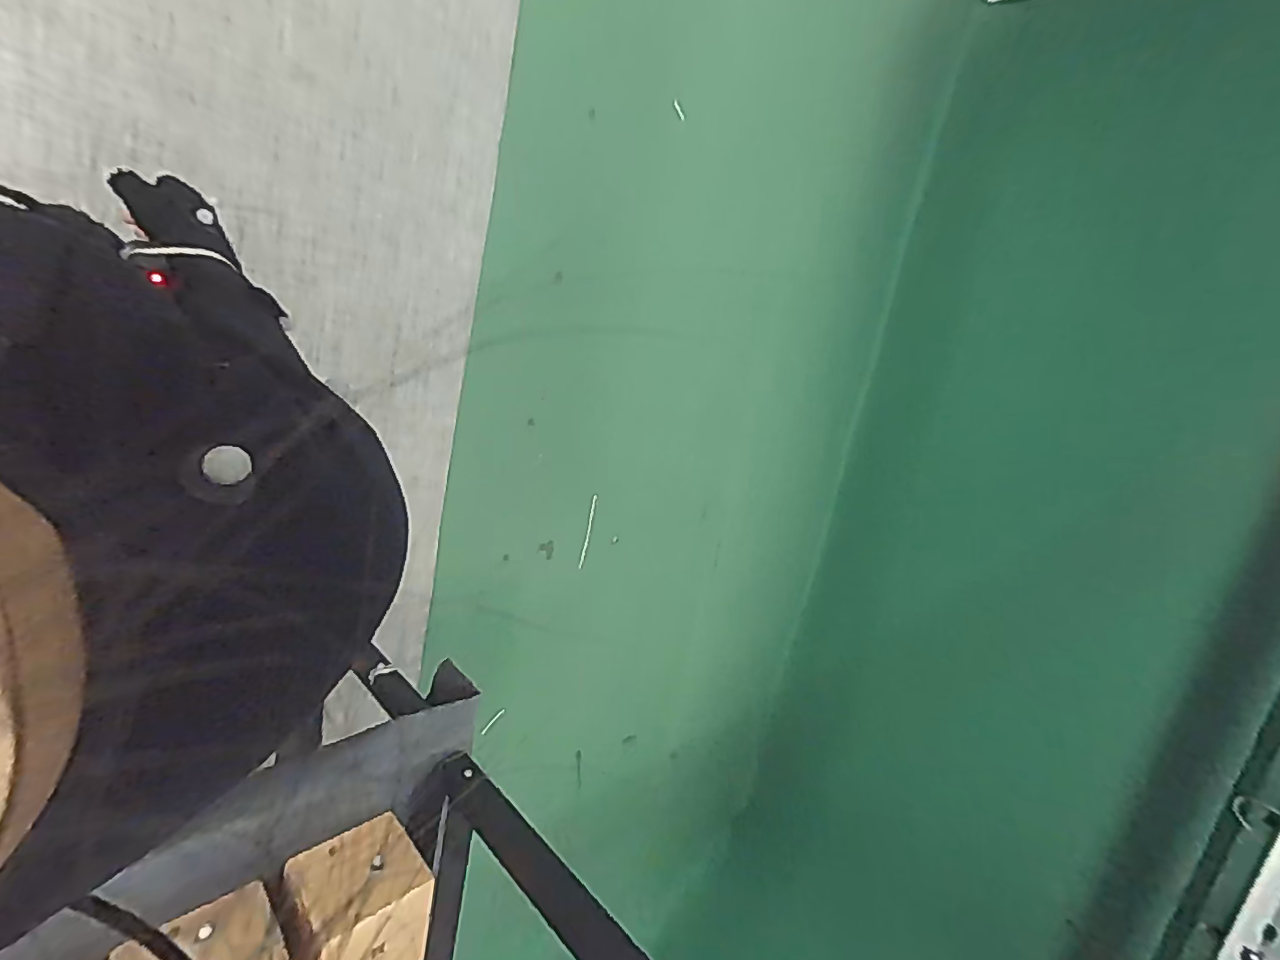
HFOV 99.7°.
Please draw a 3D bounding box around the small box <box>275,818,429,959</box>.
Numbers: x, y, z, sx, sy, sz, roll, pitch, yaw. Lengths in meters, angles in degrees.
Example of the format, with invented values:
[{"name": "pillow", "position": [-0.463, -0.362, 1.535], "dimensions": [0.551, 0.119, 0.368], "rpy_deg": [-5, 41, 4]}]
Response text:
[{"name": "small box", "position": [-0.463, 0.685, 0.864], "dimensions": [0.168, 0.176, 0.179], "rpy_deg": [-2, 108, -48]}]
